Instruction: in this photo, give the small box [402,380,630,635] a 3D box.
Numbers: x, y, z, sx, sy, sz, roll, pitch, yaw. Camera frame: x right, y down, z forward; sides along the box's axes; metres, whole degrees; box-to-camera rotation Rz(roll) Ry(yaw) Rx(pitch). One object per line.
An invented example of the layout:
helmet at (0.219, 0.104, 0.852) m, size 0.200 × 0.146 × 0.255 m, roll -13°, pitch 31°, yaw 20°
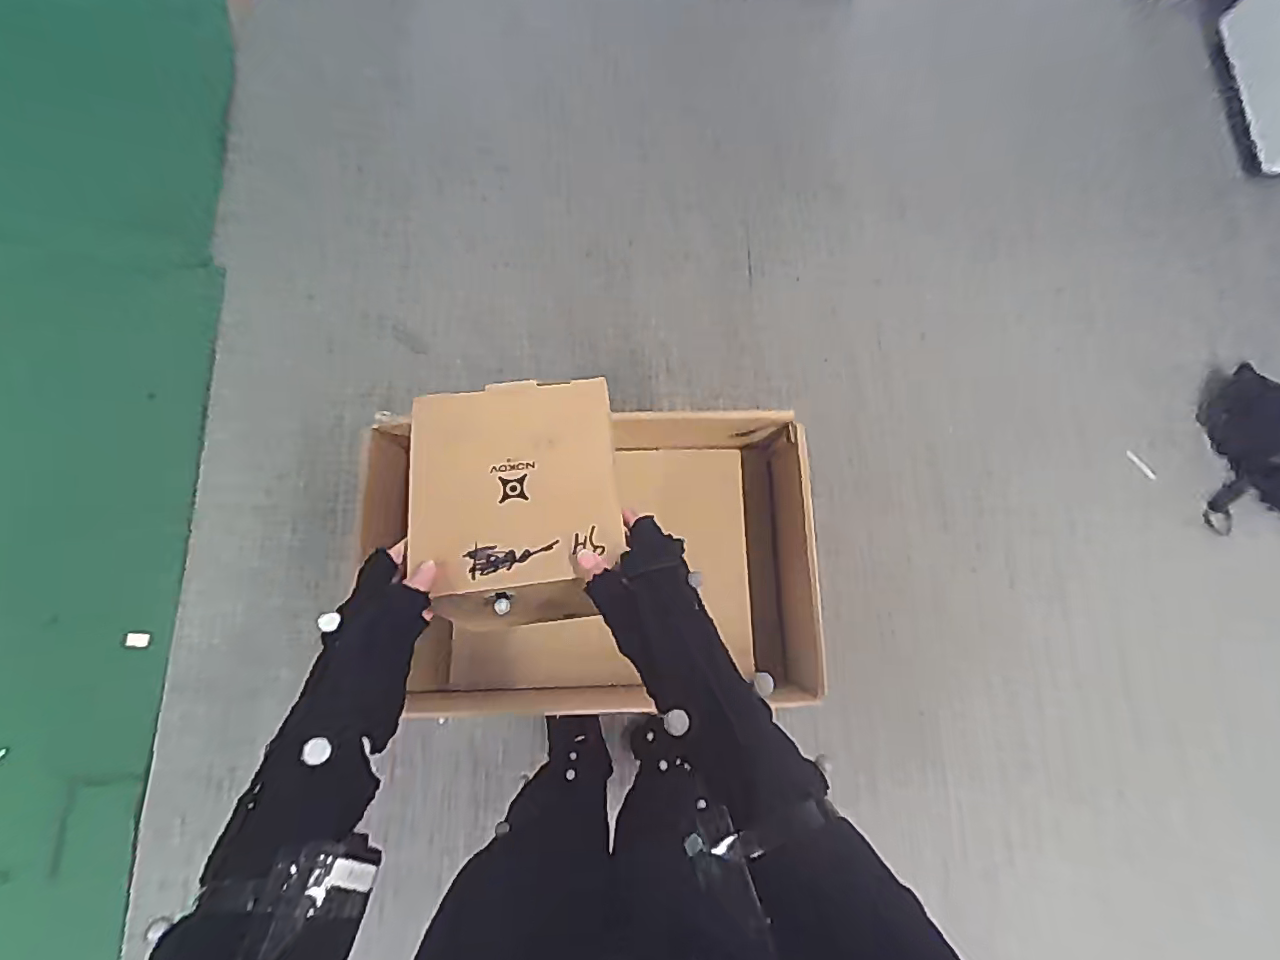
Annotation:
small box at (-0.102, 0.034, 0.501) m, size 0.168 × 0.176 × 0.179 m, roll -8°, pitch 67°, yaw -3°
